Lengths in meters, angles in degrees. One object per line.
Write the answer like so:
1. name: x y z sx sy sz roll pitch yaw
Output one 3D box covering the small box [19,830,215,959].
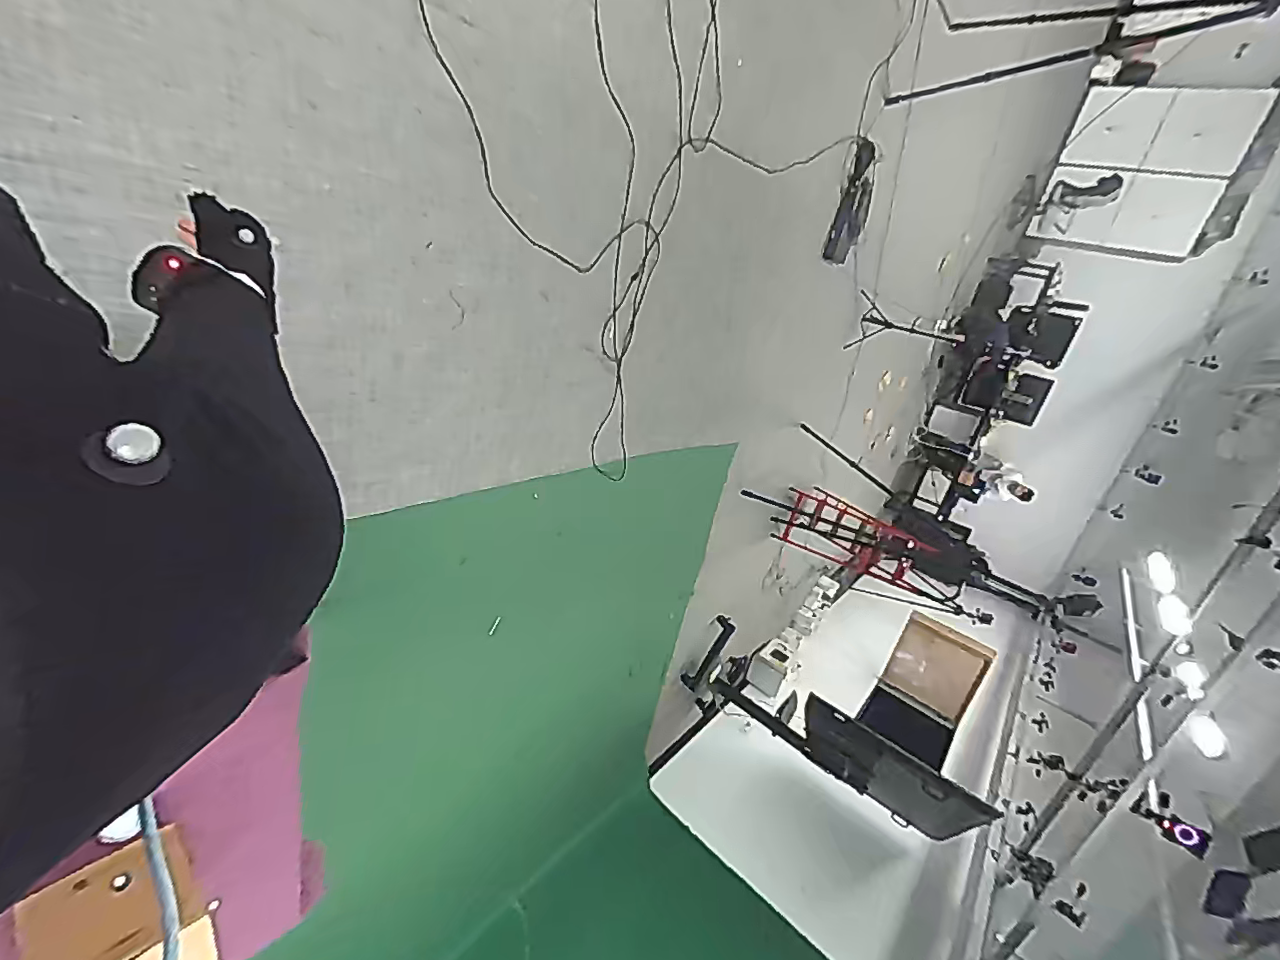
1. small box: -0.718 0.645 0.753 0.168 0.176 0.179 -16 125 -47
